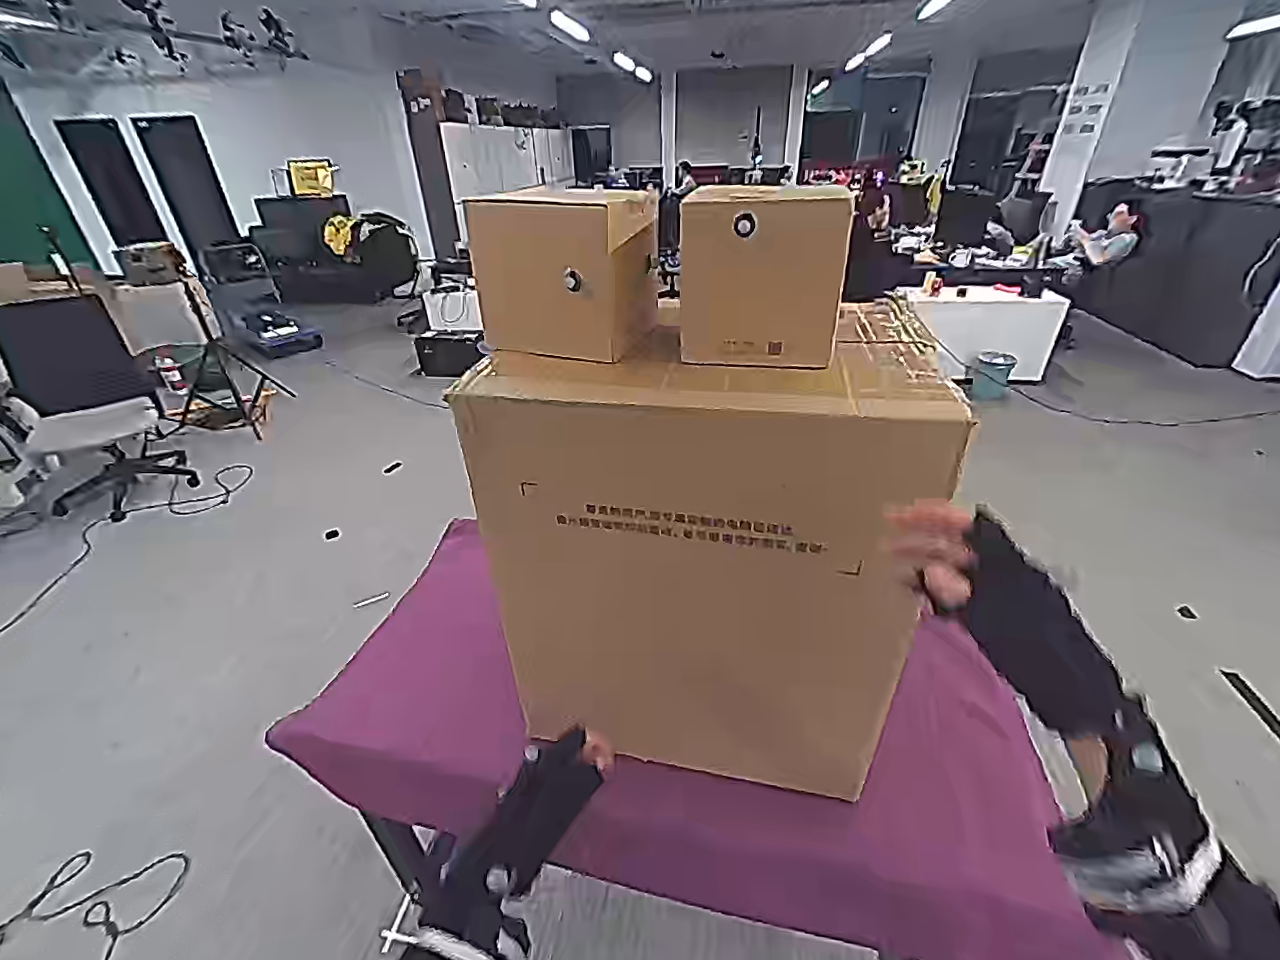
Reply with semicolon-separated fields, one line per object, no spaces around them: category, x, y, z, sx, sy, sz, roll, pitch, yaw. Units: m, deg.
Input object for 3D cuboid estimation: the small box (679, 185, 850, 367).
small box;0.137;-0.242;0.627;0.168;0.176;0.179;4;31;12
